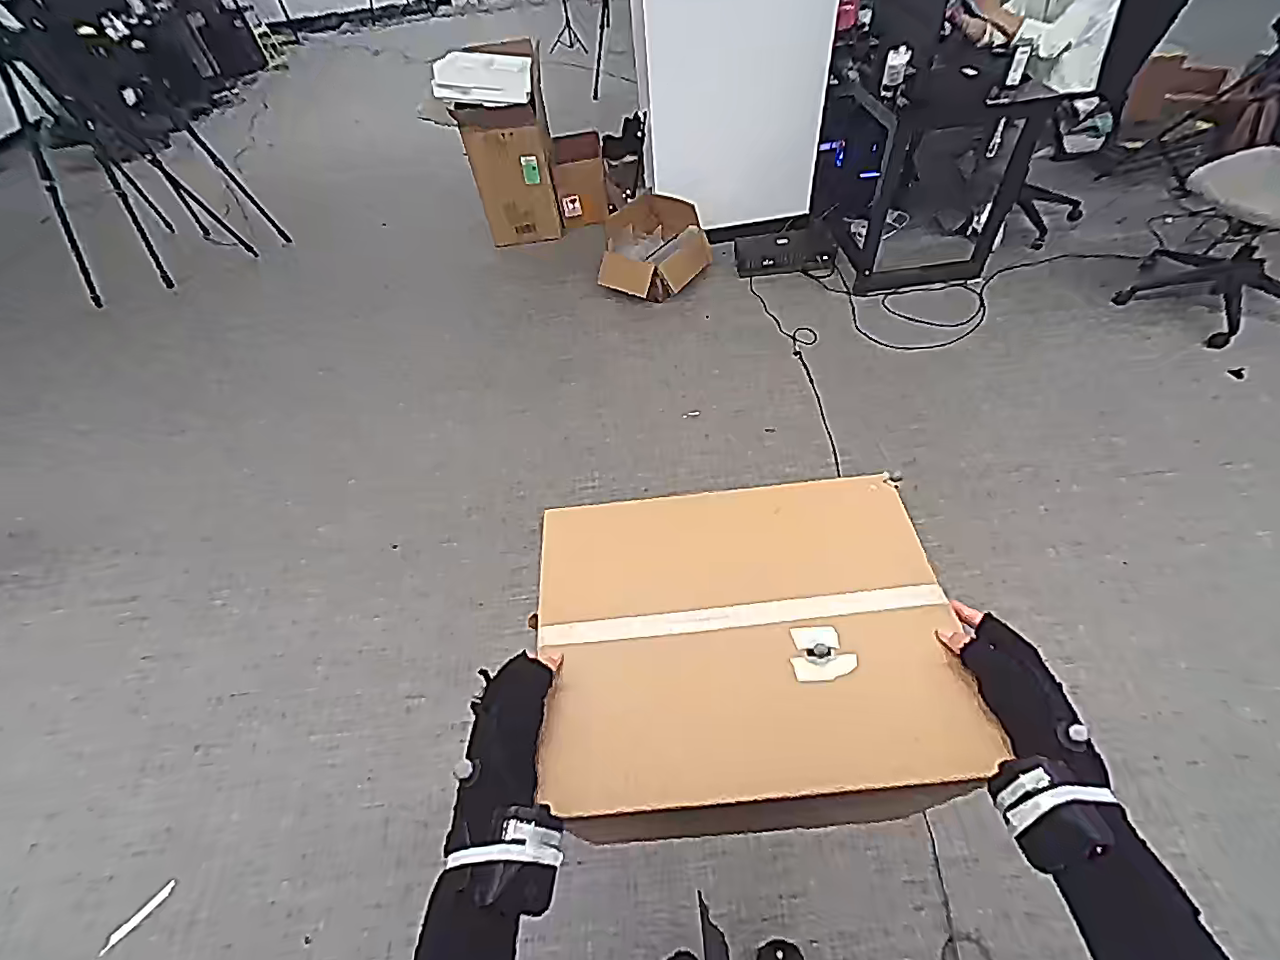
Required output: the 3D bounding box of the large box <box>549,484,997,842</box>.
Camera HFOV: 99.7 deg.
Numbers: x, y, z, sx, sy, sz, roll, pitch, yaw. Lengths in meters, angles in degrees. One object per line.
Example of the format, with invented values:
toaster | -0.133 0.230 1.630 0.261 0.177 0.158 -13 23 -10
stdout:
large box | 0.113 0.238 0.676 0.408 0.320 0.320 -6 53 1
